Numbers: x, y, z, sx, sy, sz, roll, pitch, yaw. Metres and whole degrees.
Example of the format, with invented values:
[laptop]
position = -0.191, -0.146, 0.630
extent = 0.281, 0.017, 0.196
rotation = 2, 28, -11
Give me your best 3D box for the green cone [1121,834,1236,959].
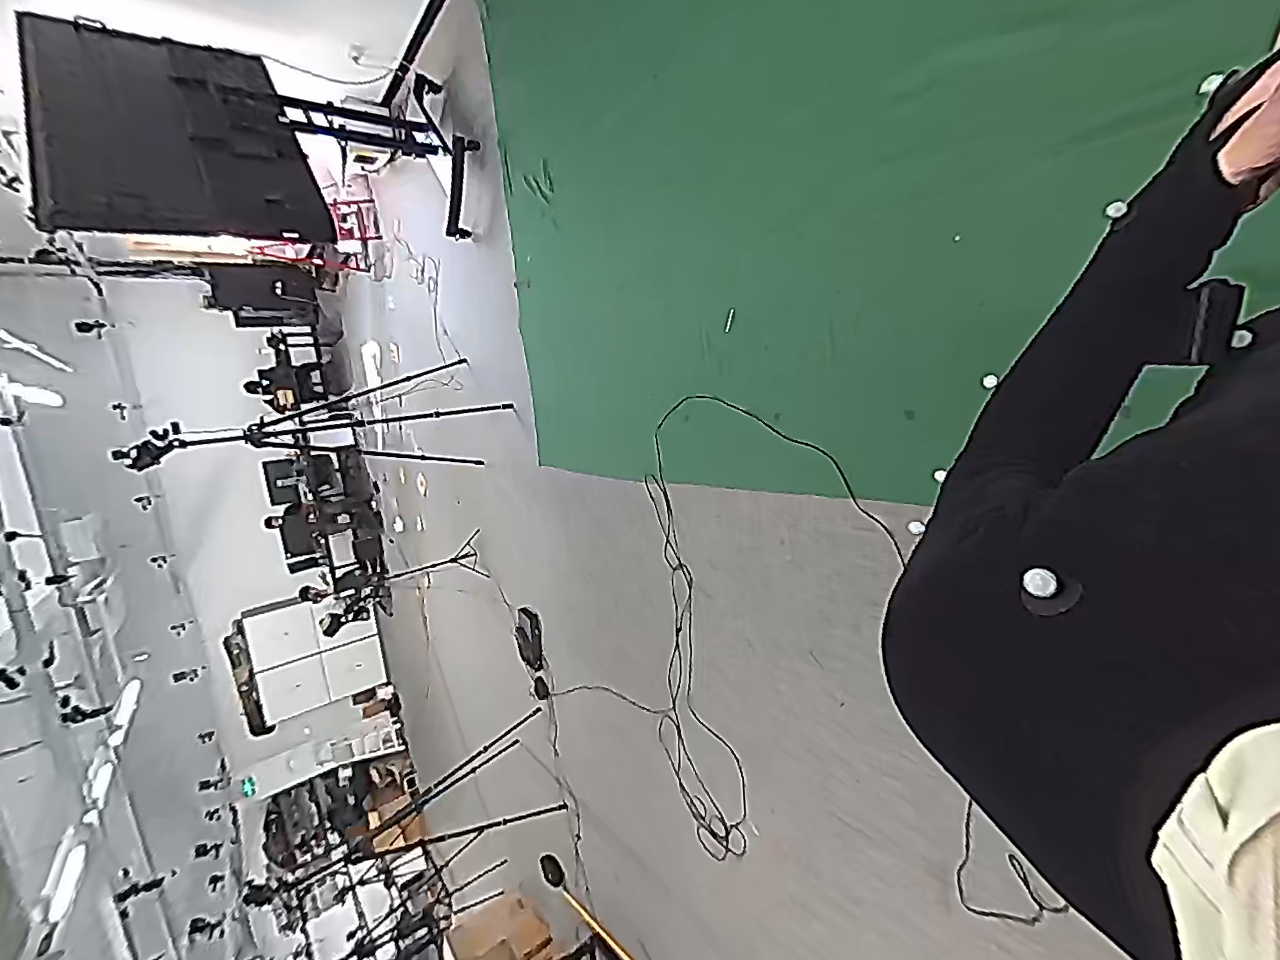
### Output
[green cone]
position = 1.214, 1.057, 1.260
extent = 0.202, 0.368, 0.200
rotation = 8, 107, 52
